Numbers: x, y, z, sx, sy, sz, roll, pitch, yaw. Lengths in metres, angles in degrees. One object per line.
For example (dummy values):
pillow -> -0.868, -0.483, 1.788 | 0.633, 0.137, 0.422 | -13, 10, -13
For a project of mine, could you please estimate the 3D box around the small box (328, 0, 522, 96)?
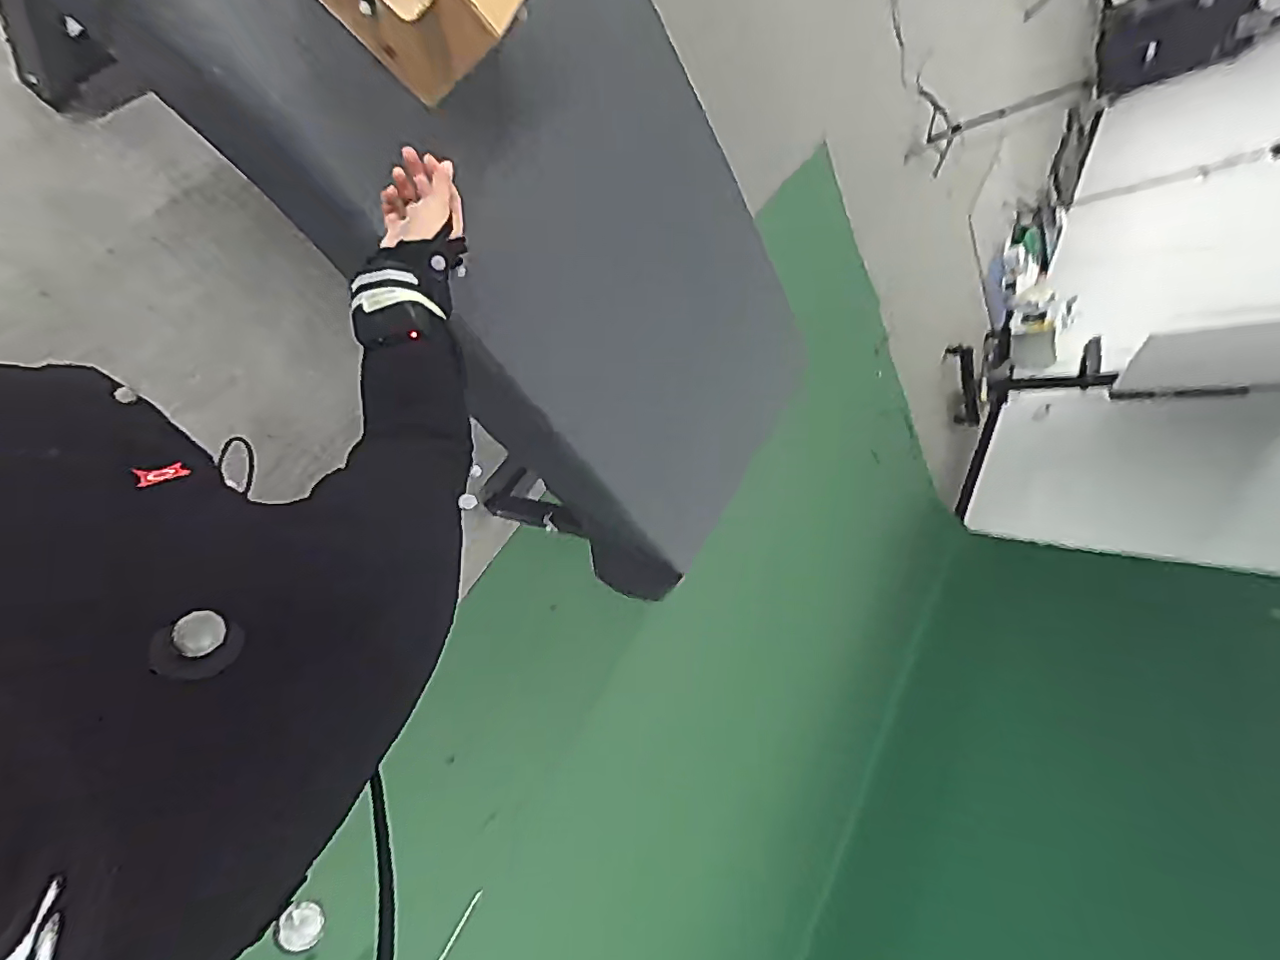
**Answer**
small box -> -0.211, -0.547, 0.544 | 0.168, 0.176, 0.179 | 33, 72, -41
